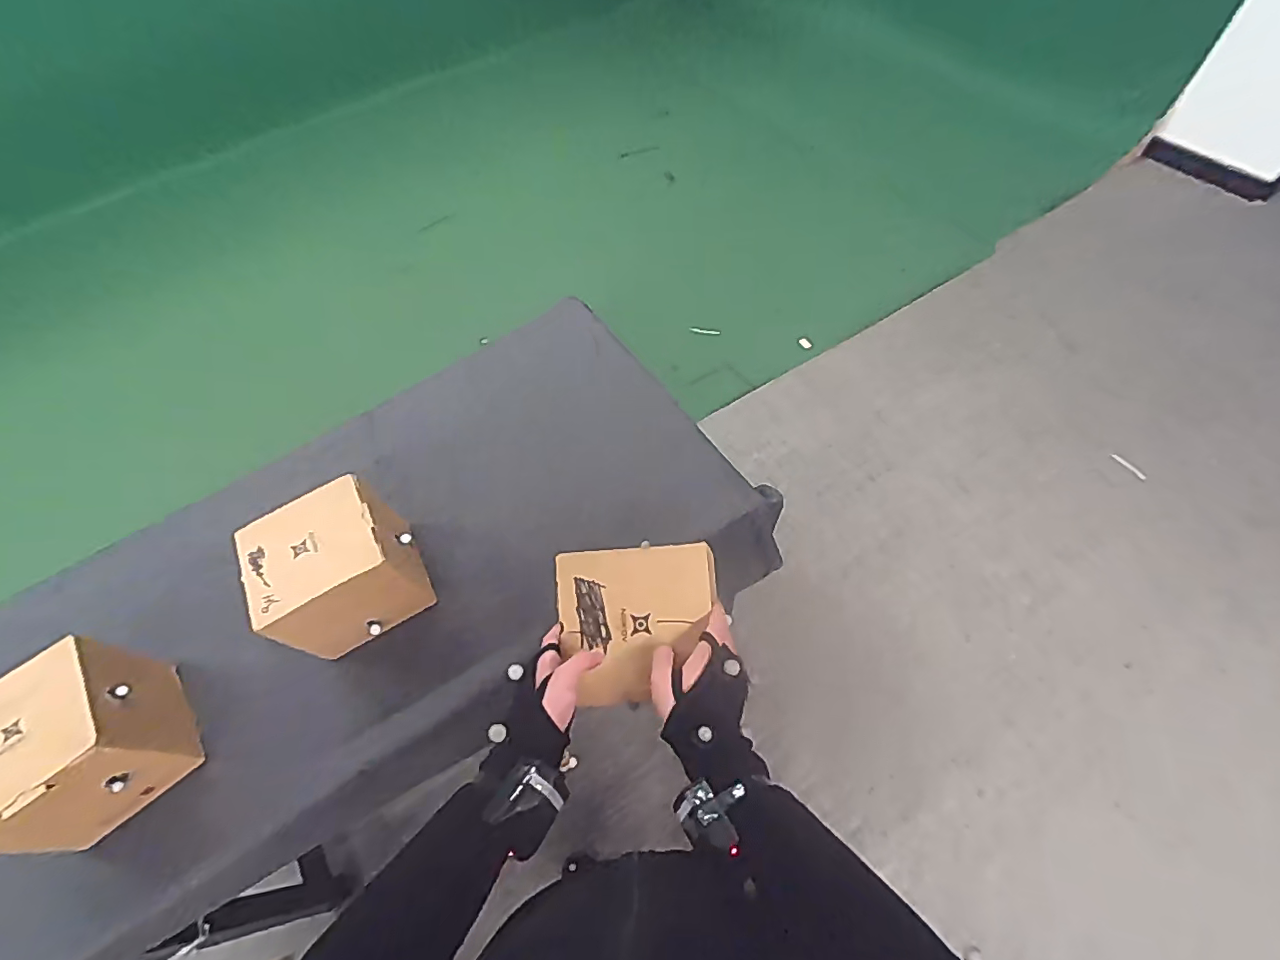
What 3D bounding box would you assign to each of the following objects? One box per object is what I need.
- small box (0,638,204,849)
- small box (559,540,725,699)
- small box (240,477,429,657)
[{"bbox_3d":[-0.725,0.345,0.707,0.168,0.176,0.179,-38,60,-17],"label":"small box"},{"bbox_3d":[0.010,0.170,0.667,0.179,0.176,0.168,-6,77,8],"label":"small box"},{"bbox_3d":[-0.435,0.133,0.797,0.179,0.176,0.168,-29,60,-11],"label":"small box"}]
